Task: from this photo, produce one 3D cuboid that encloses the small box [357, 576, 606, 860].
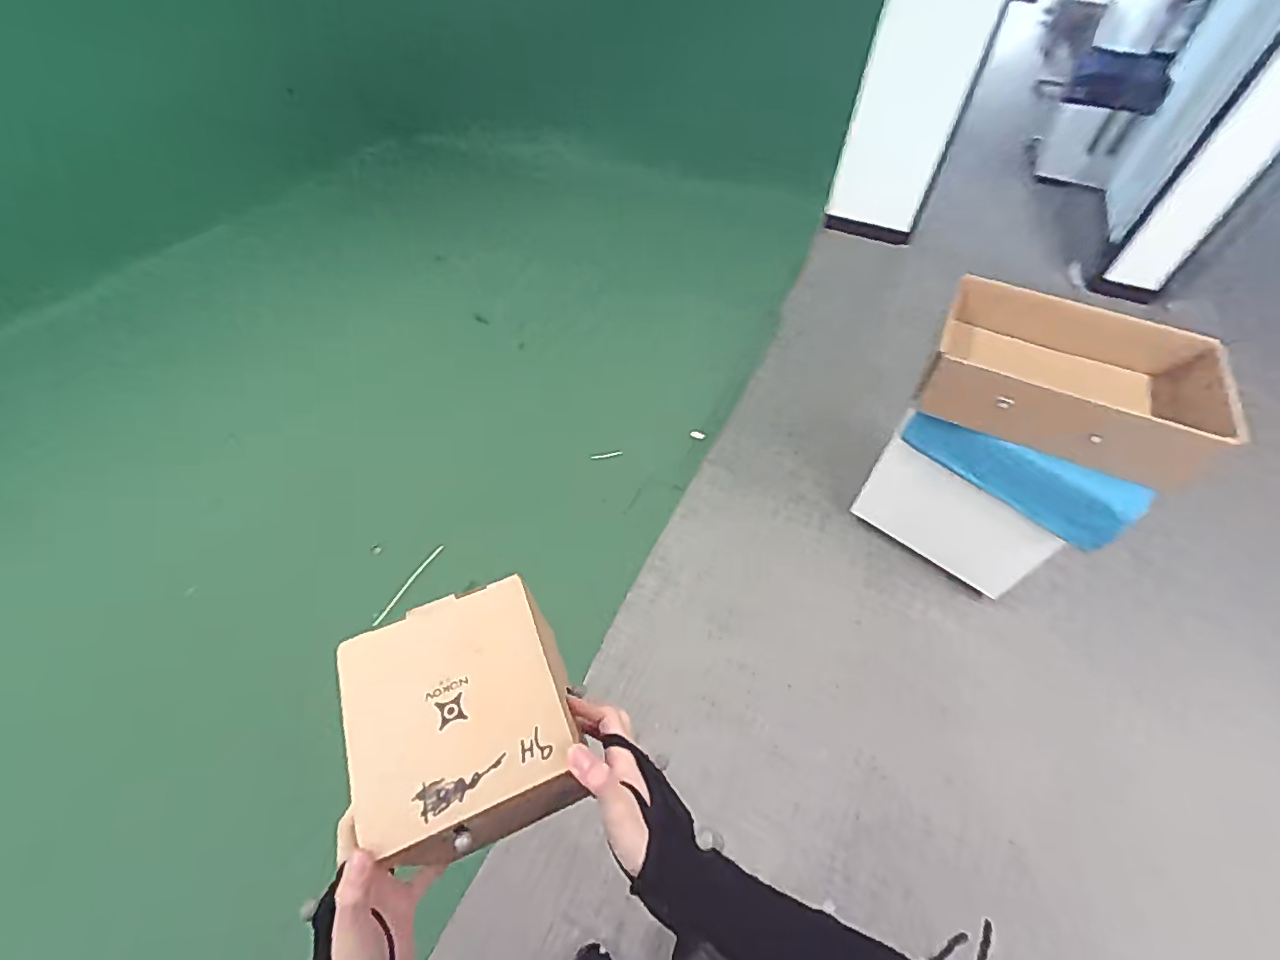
[{"bbox_3d":[-0.140,0.225,0.507,0.168,0.176,0.179,-20,55,-10],"label":"small box"}]
